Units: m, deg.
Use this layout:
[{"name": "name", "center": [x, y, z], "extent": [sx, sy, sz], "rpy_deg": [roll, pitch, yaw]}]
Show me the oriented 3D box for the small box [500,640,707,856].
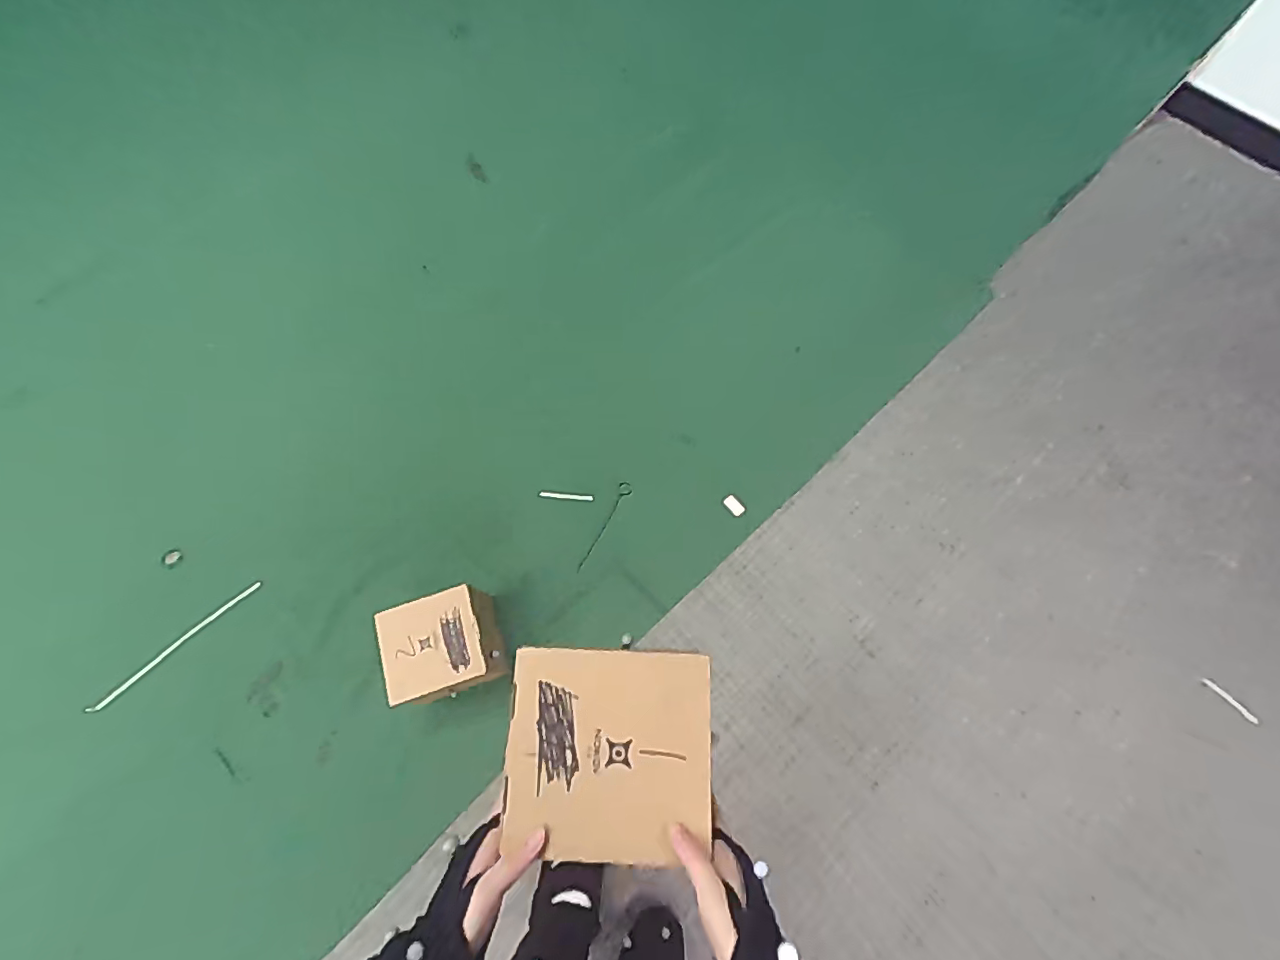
[{"name": "small box", "center": [-0.025, 0.253, 0.549], "extent": [0.179, 0.176, 0.168], "rpy_deg": [1, 73, 3]}]
